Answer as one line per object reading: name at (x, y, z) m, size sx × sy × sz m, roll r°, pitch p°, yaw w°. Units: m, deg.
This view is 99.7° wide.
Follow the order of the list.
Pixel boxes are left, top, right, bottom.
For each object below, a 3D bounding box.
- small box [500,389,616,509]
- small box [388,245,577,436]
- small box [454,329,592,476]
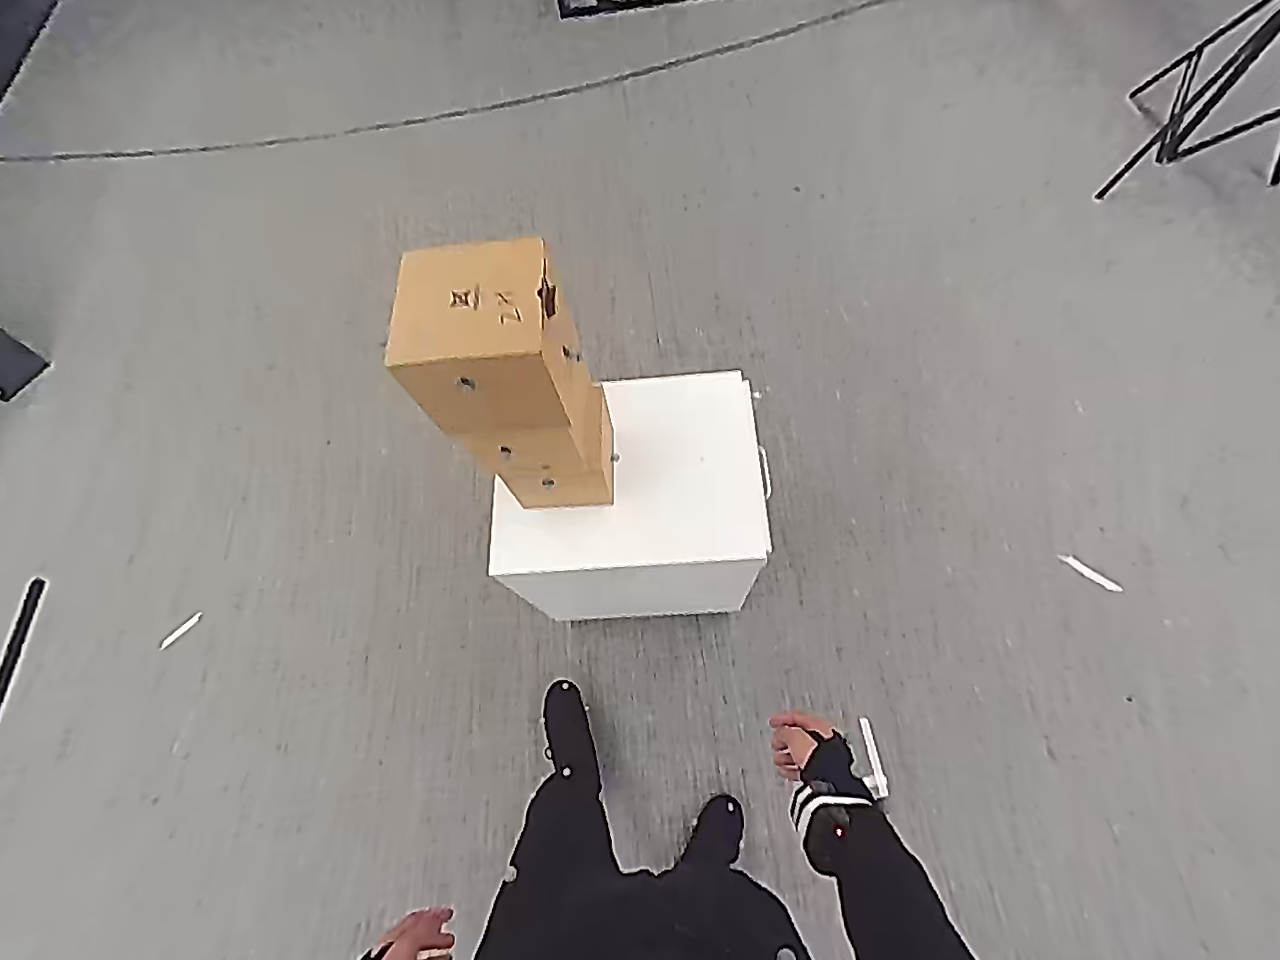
small box at (-0.140, -0.050, 0.988) m, size 0.179 × 0.176 × 0.168 m, roll -2°, pitch 67°, yaw 3°
small box at (-0.183, -0.166, 0.685) m, size 0.179 × 0.176 × 0.168 m, roll -4°, pitch 67°, yaw 3°
small box at (-0.170, -0.113, 0.841) m, size 0.168 × 0.176 × 0.179 m, roll -1°, pitch 66°, yaw 4°
